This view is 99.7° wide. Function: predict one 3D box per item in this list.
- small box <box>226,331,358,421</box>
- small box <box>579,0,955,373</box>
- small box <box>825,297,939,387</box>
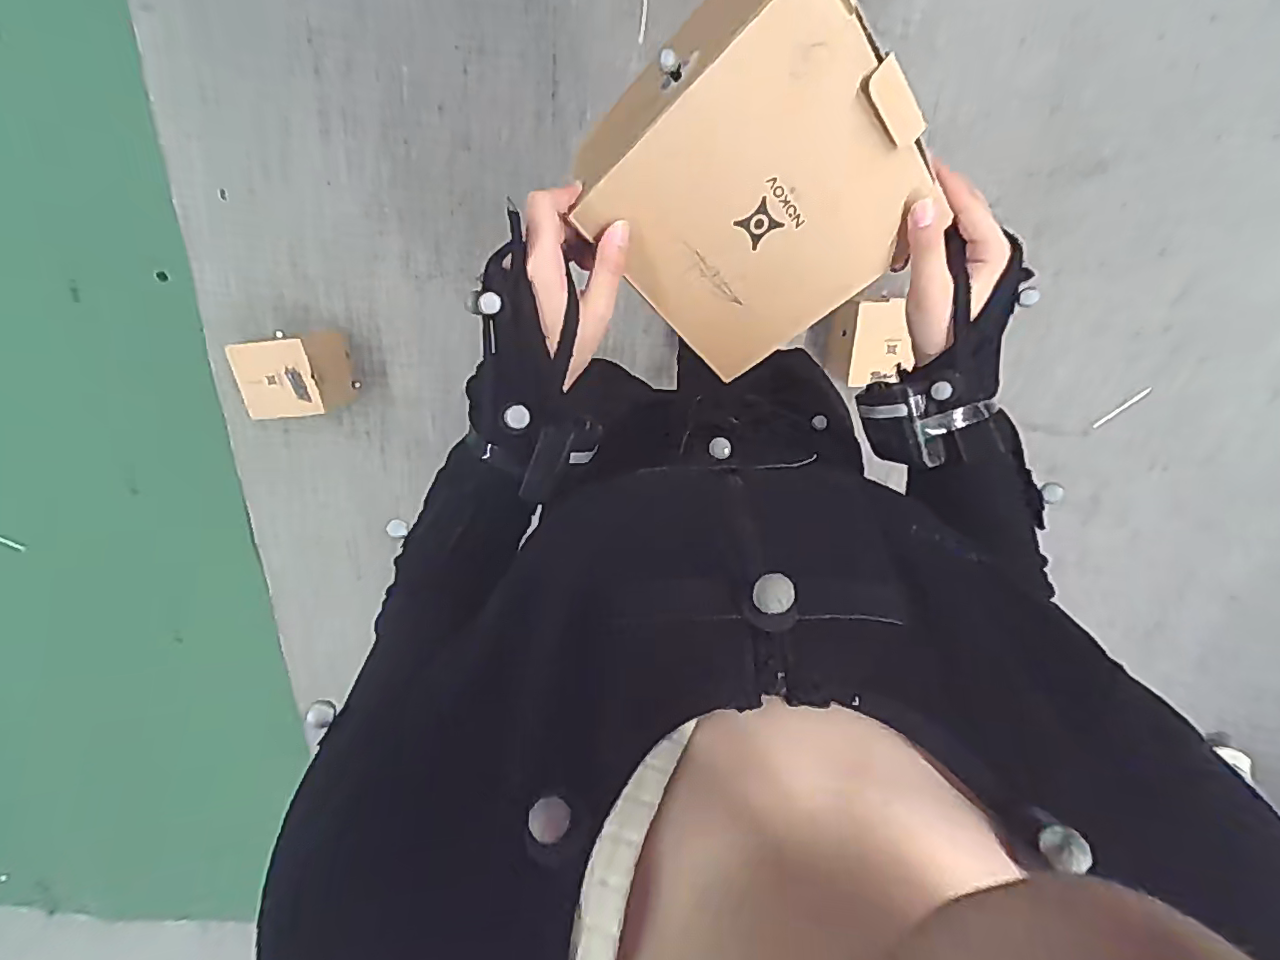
[{"bbox_3d":[-0.773,-0.241,1.231,0.179,0.176,0.168,-4,112,4],"label":"small box"},{"bbox_3d":[0.074,-0.219,0.383,0.179,0.176,0.168,-34,126,27],"label":"small box"},{"bbox_3d":[0.517,-0.306,1.181,0.168,0.176,0.179,0,112,1],"label":"small box"}]
